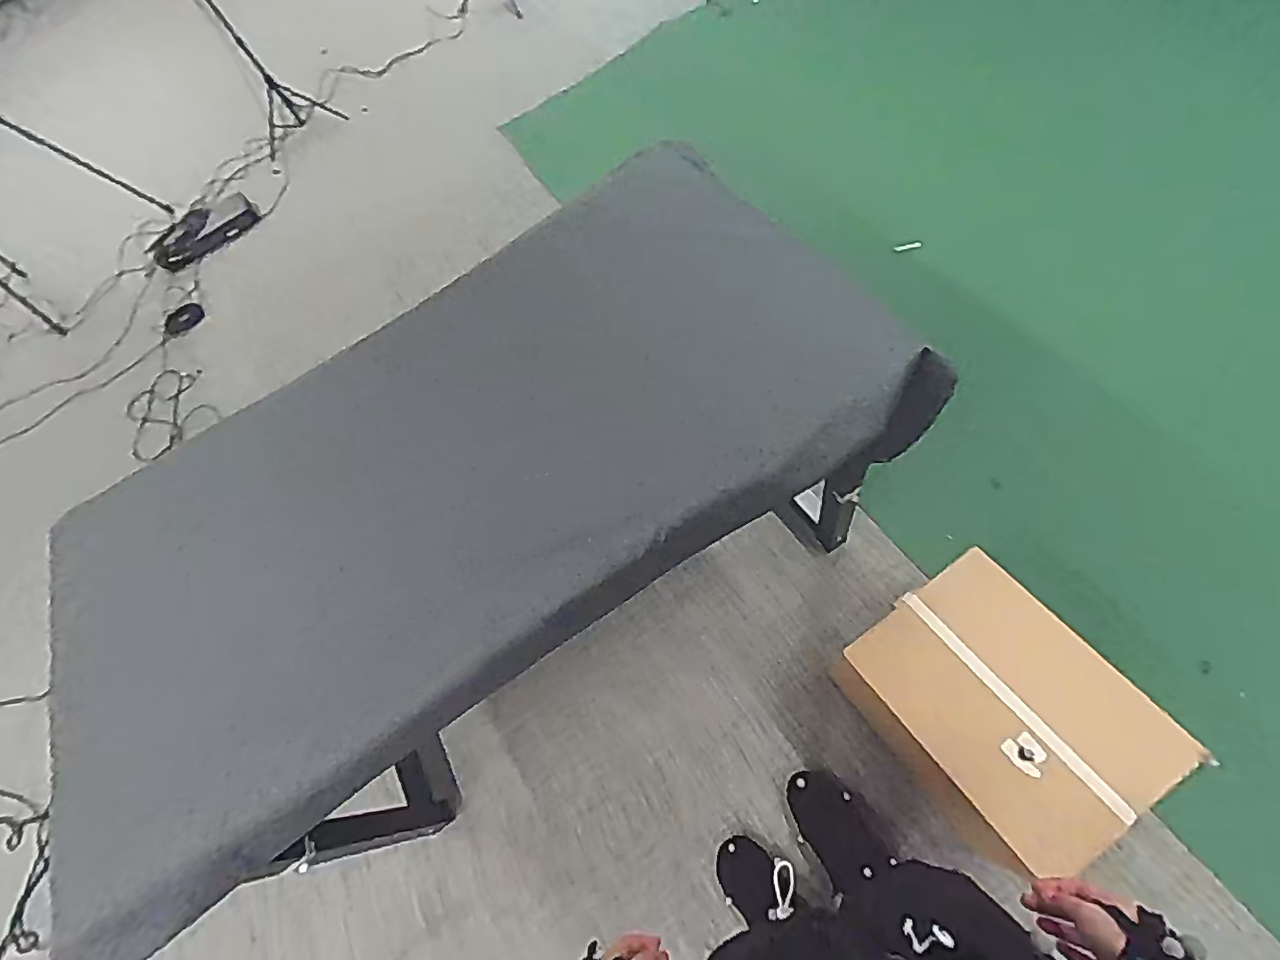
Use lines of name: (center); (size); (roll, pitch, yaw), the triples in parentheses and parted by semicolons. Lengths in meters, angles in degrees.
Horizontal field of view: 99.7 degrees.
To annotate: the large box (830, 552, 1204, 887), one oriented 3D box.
large box: (0.615, 0.411, 0.987); (0.320, 0.320, 0.408); (-37, 61, -5)
